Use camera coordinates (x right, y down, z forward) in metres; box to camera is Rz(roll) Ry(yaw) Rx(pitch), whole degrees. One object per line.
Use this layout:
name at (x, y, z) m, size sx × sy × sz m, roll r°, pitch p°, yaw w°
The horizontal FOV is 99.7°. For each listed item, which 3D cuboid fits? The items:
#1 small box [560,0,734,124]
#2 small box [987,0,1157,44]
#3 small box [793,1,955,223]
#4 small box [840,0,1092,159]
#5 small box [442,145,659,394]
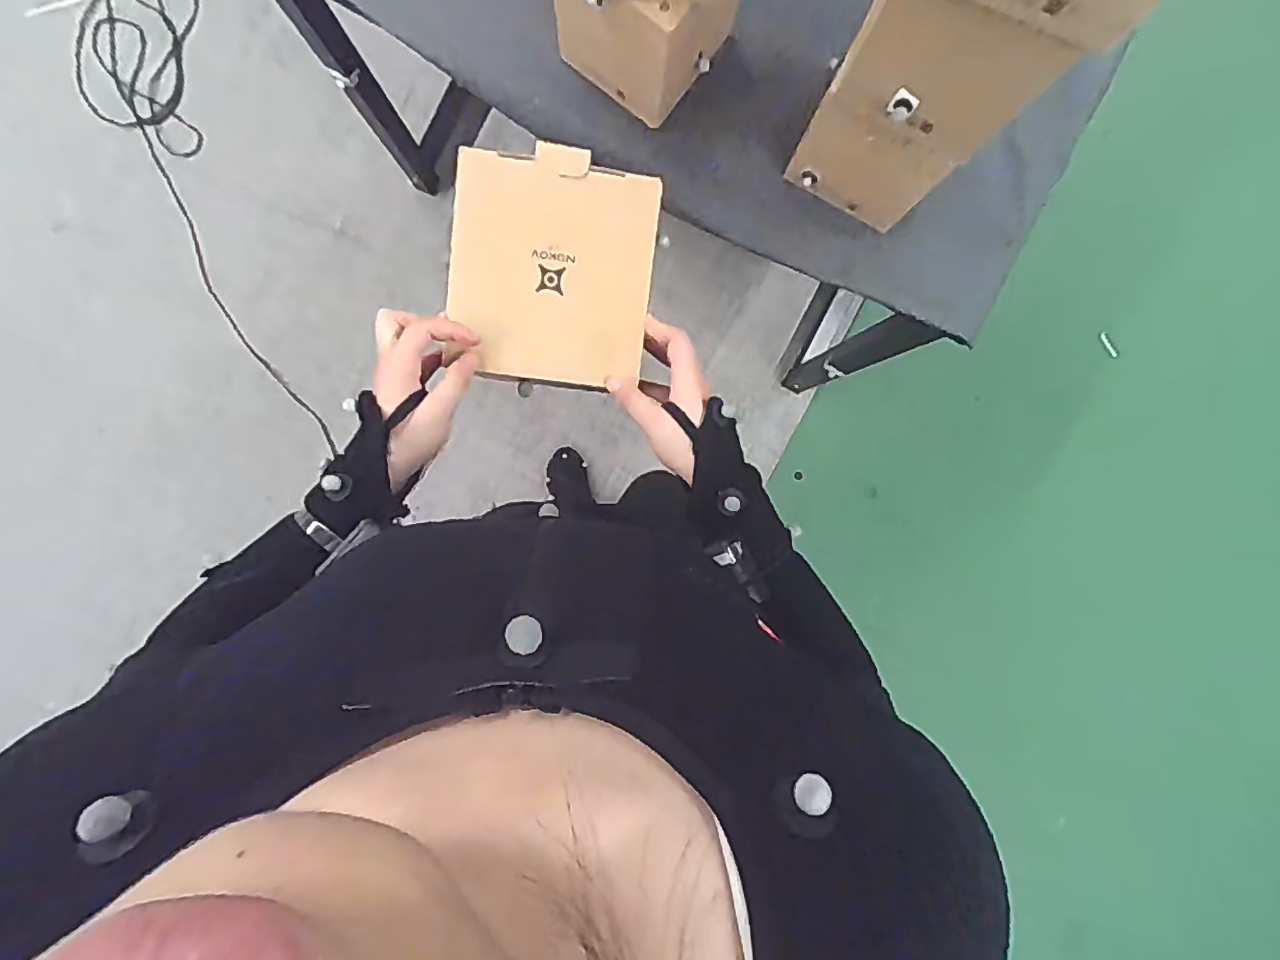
small box at (0.011, -0.594, 0.655) m, size 0.168 × 0.176 × 0.179 m, roll 36°, pitch 88°, yaw -2°
small box at (0.324, -0.448, 0.345) m, size 0.168 × 0.176 × 0.179 m, roll 21°, pitch 89°, yaw -1°
small box at (0.312, -0.461, 0.672) m, size 0.168 × 0.176 × 0.179 m, roll 28°, pitch 88°, yaw -3°
small box at (0.318, -0.457, 0.510) m, size 0.168 × 0.176 × 0.179 m, roll 24°, pitch 90°, yaw -2°
small box at (-0.079, -0.181, 0.523) m, size 0.168 × 0.176 × 0.179 m, roll 6°, pitch 95°, yaw -5°
